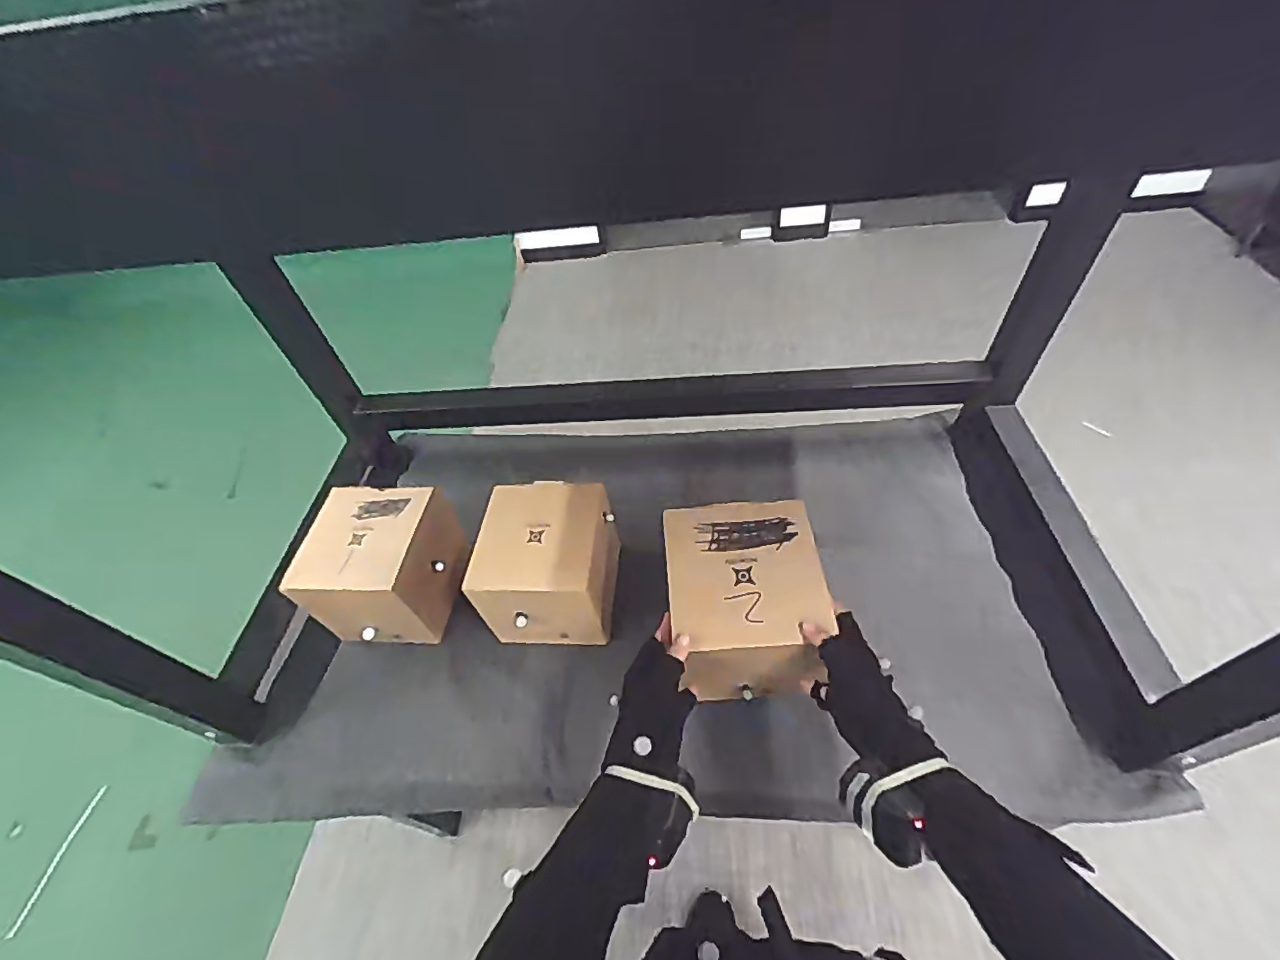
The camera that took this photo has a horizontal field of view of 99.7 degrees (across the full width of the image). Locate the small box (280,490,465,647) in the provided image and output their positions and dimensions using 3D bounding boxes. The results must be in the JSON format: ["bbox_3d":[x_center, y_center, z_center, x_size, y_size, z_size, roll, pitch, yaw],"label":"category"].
[{"bbox_3d":[-0.385,0.134,0.822,0.168,0.176,0.179,-1,50,8],"label":"small box"}]

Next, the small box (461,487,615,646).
[{"bbox_3d":[-0.134,0.130,0.793,0.168,0.176,0.179,-1,49,7],"label":"small box"}]
